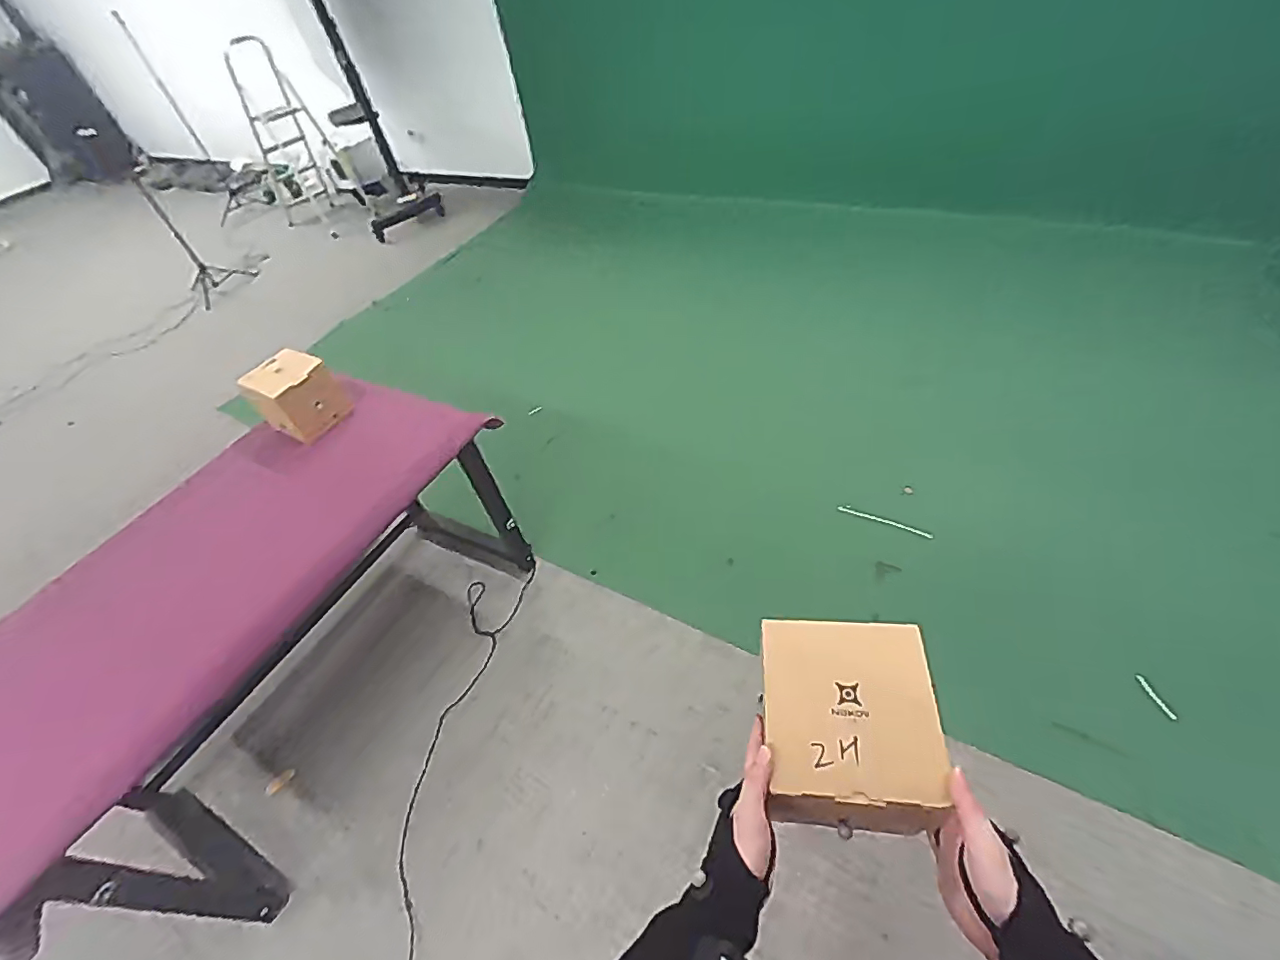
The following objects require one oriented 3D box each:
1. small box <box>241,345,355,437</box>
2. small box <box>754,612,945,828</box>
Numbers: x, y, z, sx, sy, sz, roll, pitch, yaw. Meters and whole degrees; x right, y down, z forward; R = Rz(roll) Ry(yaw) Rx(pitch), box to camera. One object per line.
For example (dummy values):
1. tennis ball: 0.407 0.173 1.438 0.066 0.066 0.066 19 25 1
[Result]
1. small box: -0.939 -0.243 1.503 0.179 0.176 0.168 21 55 23
2. small box: 0.213 0.267 0.605 0.168 0.176 0.179 -1 51 11
